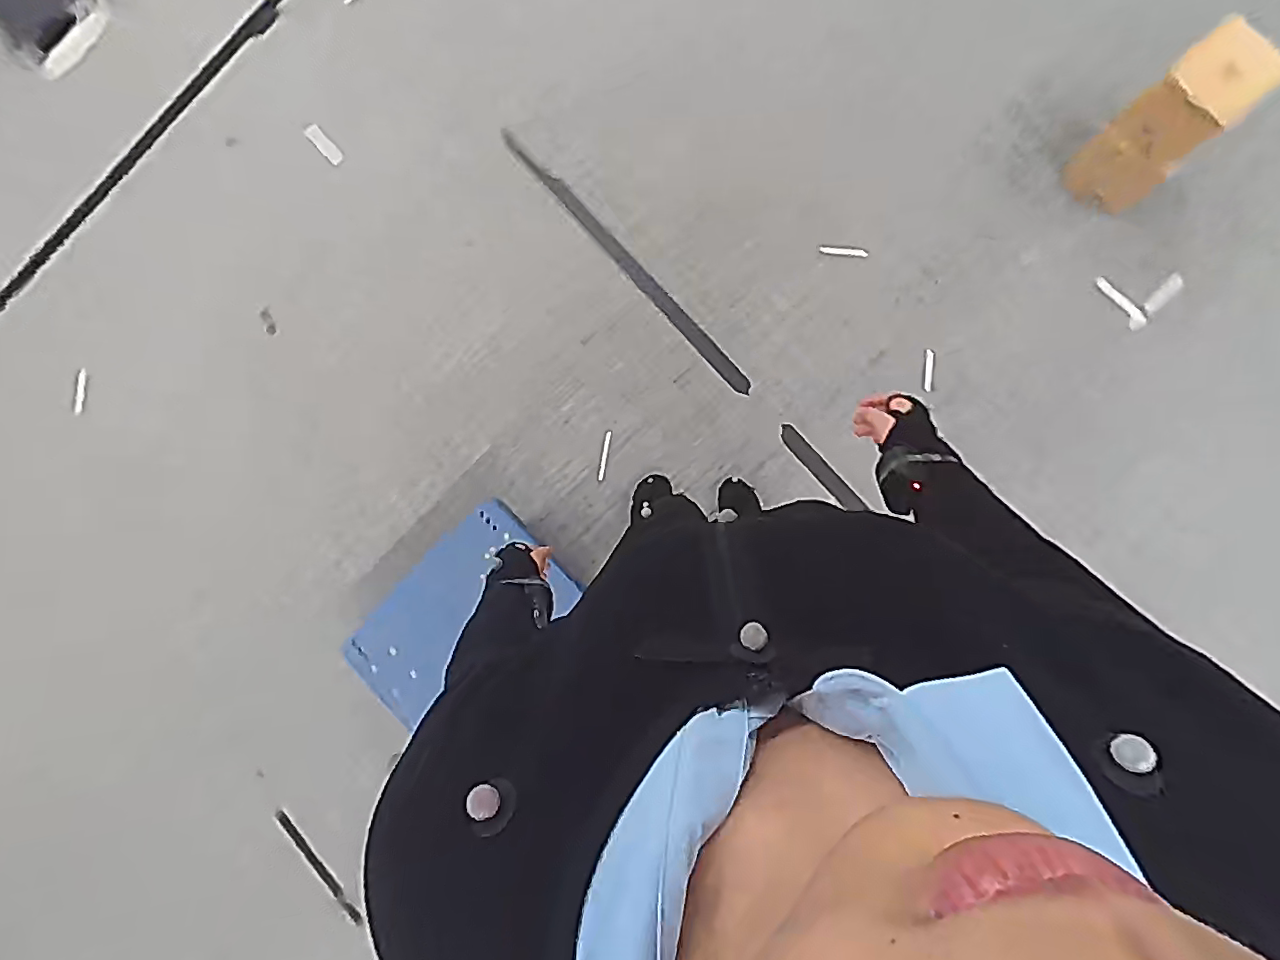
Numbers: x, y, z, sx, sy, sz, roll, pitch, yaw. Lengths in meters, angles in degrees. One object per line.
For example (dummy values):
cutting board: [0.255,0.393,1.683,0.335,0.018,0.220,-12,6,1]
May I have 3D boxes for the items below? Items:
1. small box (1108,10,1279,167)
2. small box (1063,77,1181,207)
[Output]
small box: [1.190,-0.835,1.171,0.179,0.176,0.168,-43,86,4]
small box: [1.206,-0.822,1.333,0.168,0.176,0.179,35,92,6]
